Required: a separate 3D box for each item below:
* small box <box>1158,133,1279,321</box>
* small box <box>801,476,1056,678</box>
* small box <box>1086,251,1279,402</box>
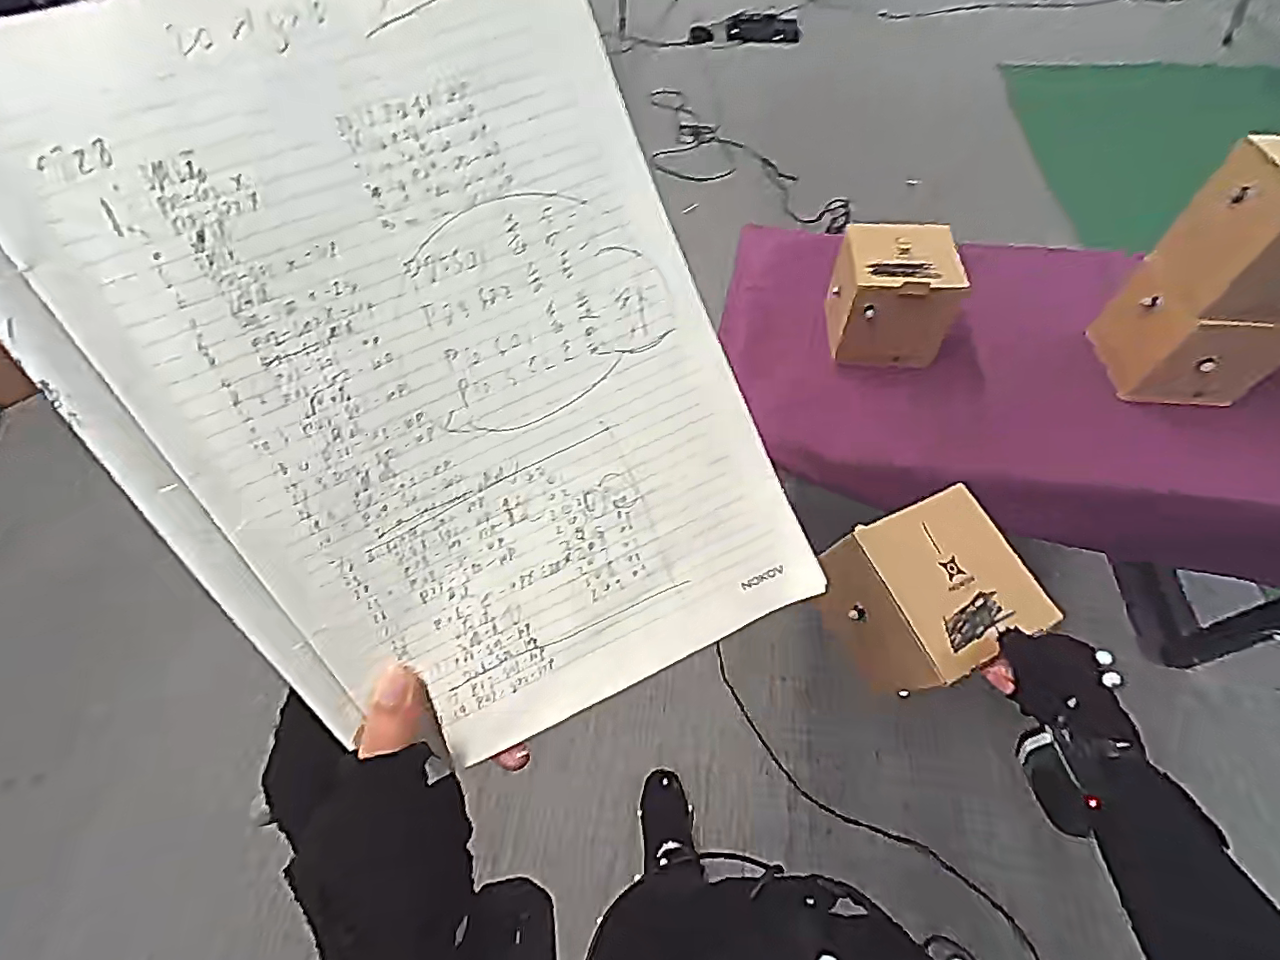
[{"bbox_3d":[0.871,-0.339,0.734,0.168,0.176,0.179,6,57,8],"label":"small box"},{"bbox_3d":[0.329,0.126,0.656,0.168,0.176,0.179,-20,69,-16],"label":"small box"},{"bbox_3d":[0.876,-0.242,0.868,0.168,0.176,0.179,4,56,6],"label":"small box"}]
